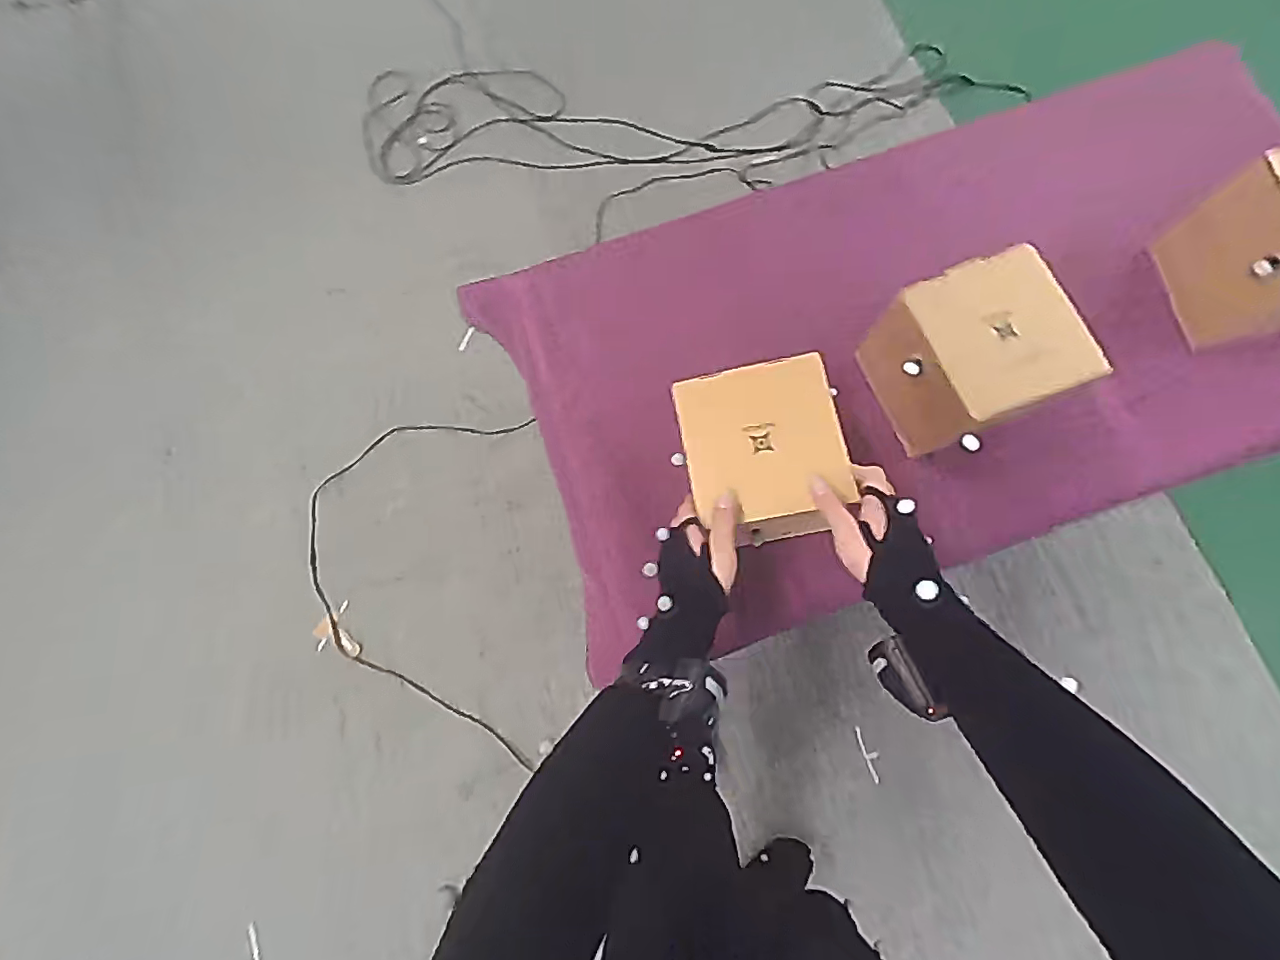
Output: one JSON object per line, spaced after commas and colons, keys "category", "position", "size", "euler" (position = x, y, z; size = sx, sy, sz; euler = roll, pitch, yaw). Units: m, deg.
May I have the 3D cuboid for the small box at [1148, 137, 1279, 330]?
{"category": "small box", "position": [0.820, -0.308, 0.686], "size": [0.168, 0.176, 0.179], "euler": [-9, 77, 1]}

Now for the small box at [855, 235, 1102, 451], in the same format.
{"category": "small box", "position": [0.399, -0.159, 0.678], "size": [0.168, 0.176, 0.179], "euler": [-21, 77, -1]}

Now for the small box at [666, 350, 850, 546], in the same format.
{"category": "small box", "position": [0.135, -0.023, 0.643], "size": [0.168, 0.176, 0.179], "euler": [-11, 71, 8]}
